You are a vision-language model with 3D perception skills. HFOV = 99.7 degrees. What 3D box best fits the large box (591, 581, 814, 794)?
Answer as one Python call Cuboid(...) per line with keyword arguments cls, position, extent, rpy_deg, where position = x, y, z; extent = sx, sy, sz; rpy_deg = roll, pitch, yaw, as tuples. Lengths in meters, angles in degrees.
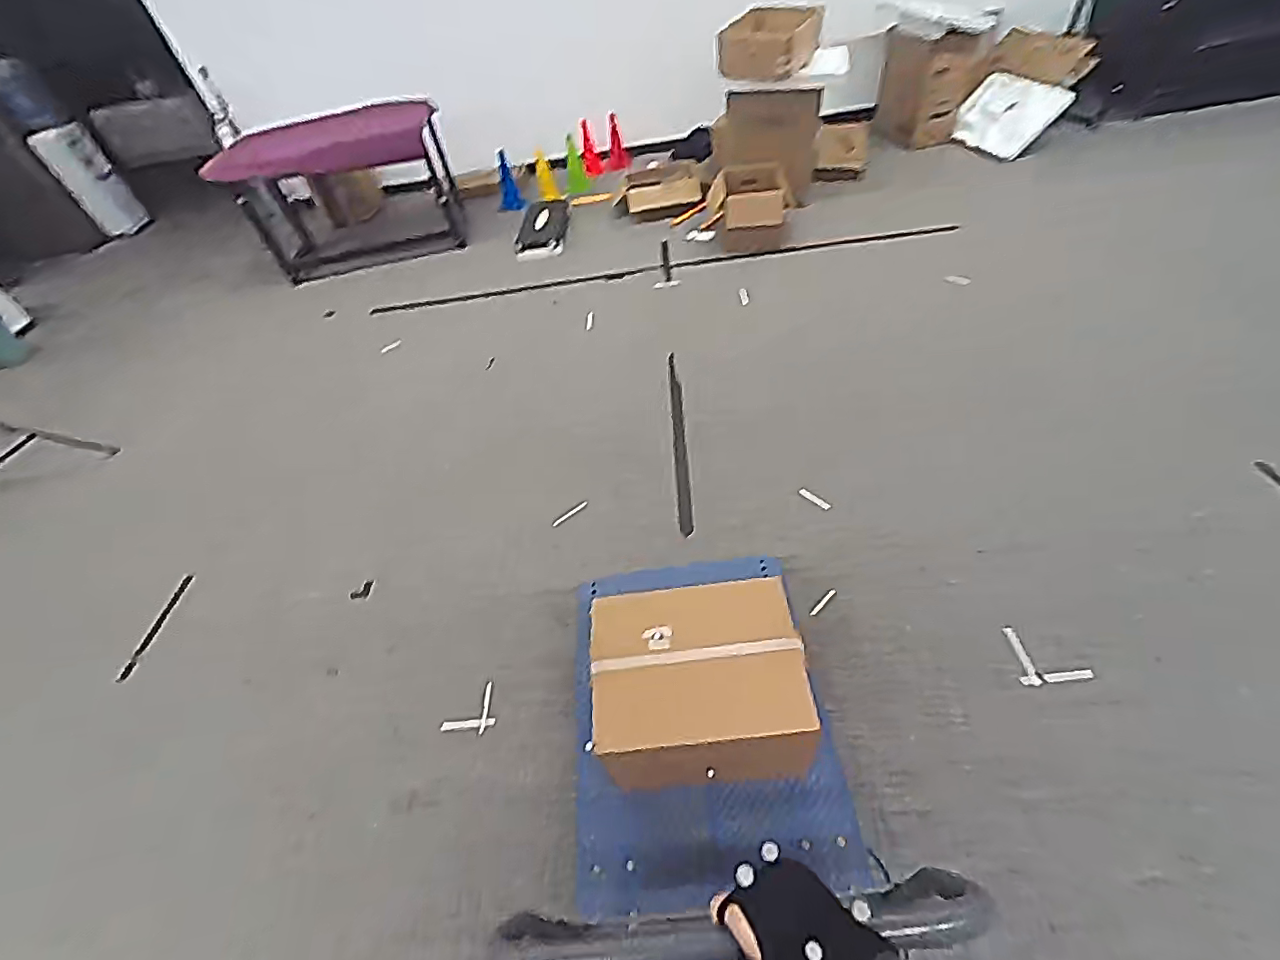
Cuboid(cls="large box", position=(0.126, 0.456, 1.173), extent=(0.408, 0.320, 0.320), rpy_deg=(-9, 46, 4))
